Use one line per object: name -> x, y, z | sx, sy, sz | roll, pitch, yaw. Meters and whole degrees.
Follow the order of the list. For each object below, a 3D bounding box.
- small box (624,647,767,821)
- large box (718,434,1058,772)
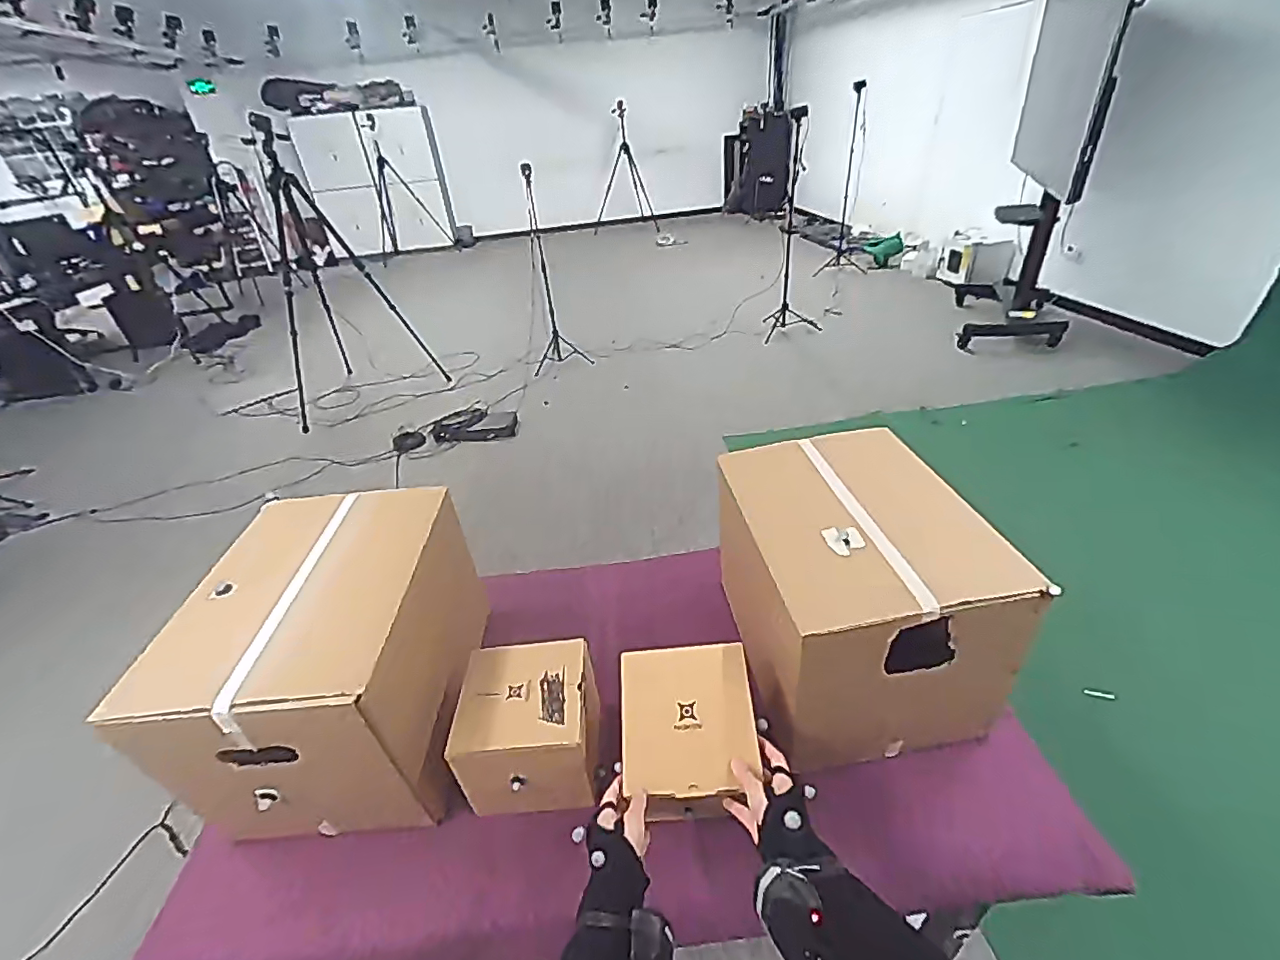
small box -> 0.075, 0.342, 0.730 | 0.168, 0.176, 0.179 | -2, 51, 7
large box -> 0.326, 0.173, 0.867 | 0.320, 0.320, 0.408 | -10, 35, -2
